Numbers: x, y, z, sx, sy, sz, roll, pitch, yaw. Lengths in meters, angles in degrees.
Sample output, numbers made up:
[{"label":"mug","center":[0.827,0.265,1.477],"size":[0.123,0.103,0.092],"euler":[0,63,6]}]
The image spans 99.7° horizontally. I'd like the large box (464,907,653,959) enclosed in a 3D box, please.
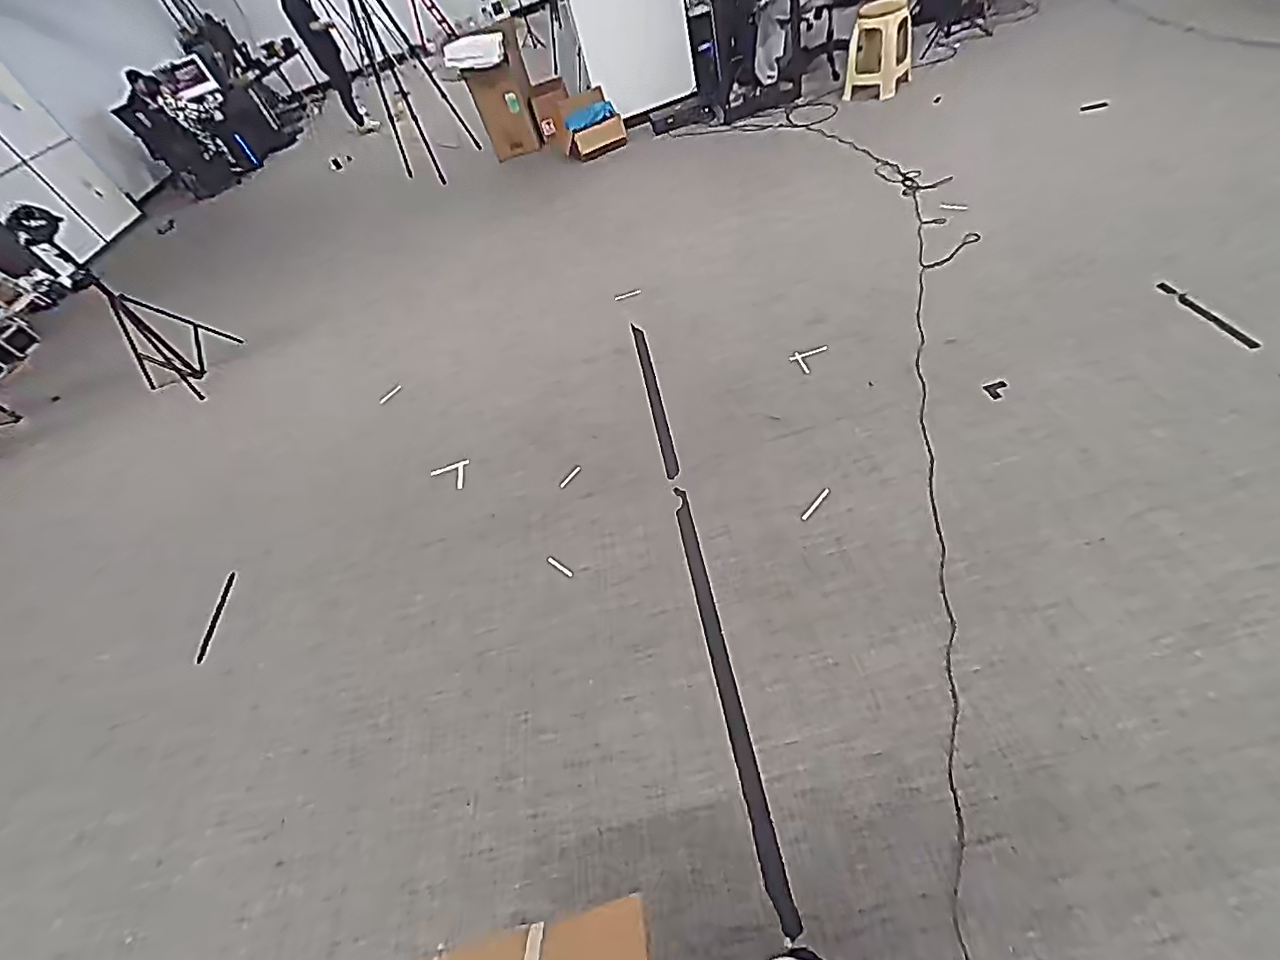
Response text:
[{"label":"large box","center":[-0.093,0.808,0.592],"size":[0.320,0.408,0.320],"euler":[-13,89,-4]}]
